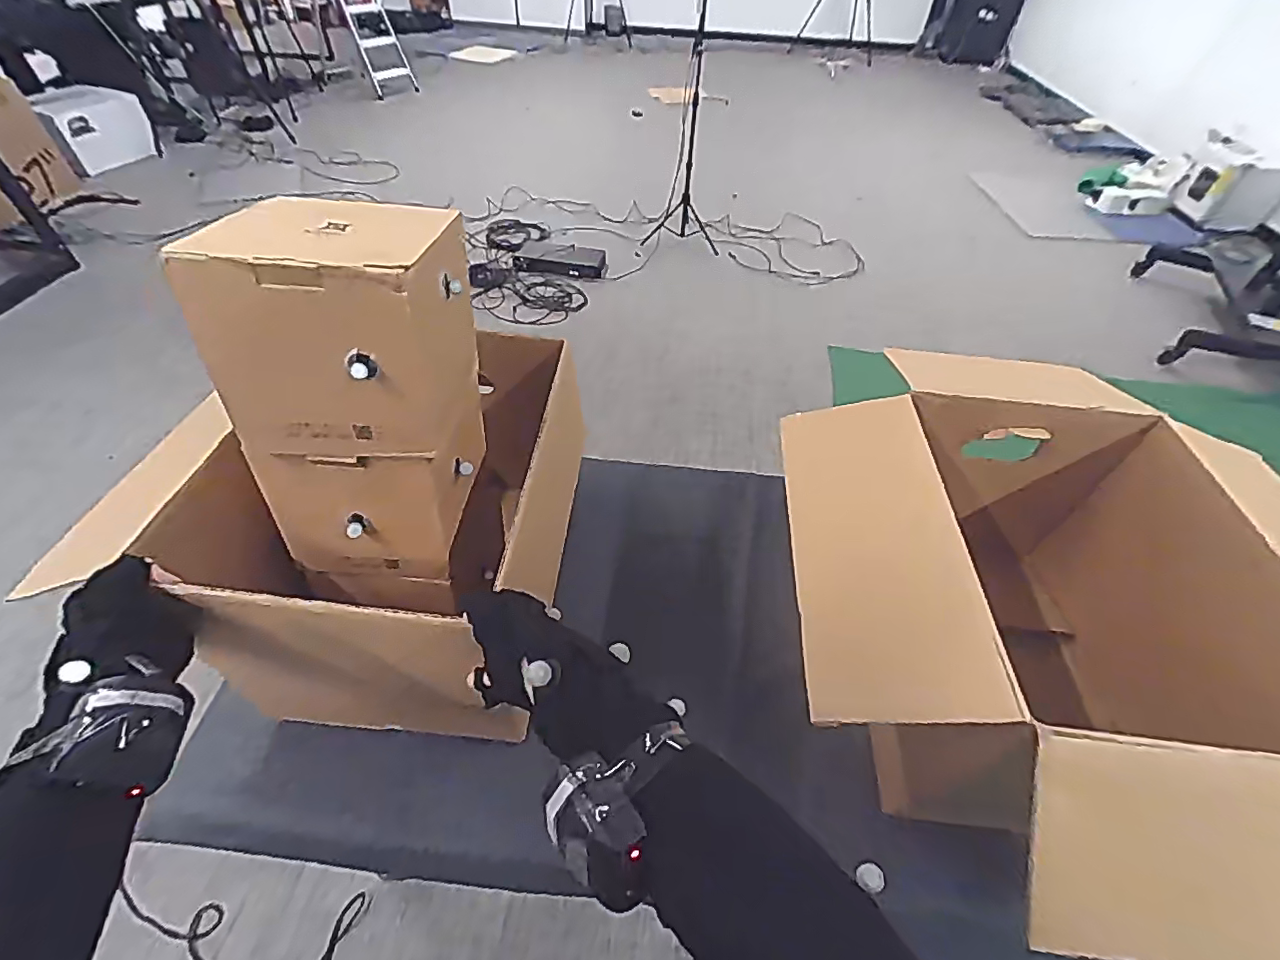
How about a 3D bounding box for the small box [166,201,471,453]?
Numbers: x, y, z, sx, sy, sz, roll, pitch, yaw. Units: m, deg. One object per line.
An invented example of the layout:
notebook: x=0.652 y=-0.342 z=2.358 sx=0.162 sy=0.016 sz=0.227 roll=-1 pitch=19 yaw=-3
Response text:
small box: x=-0.259 y=-0.140 z=0.495 sx=0.168 sy=0.176 sz=0.179 roll=4 pitch=37 yaw=-5
